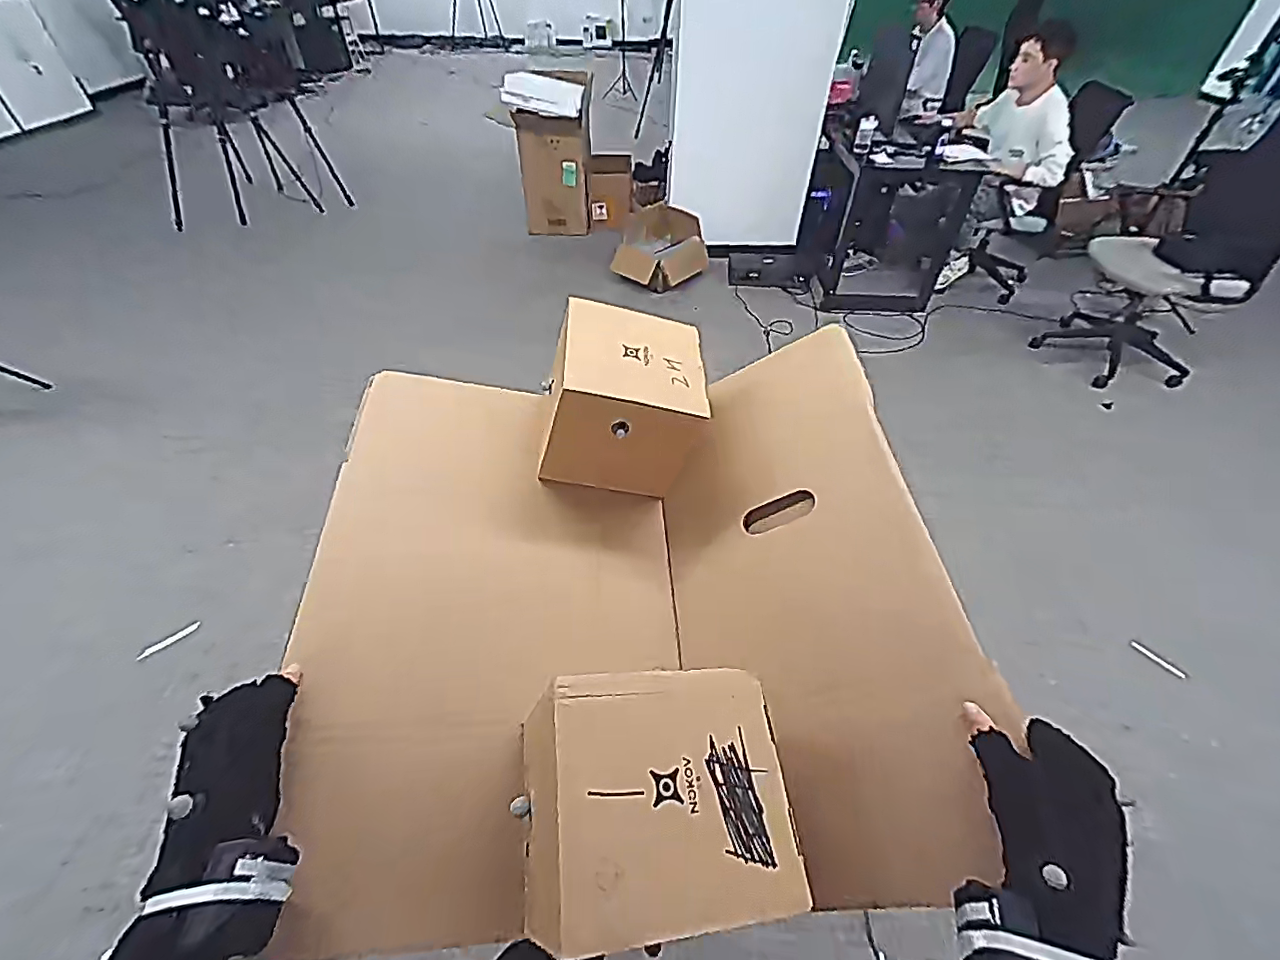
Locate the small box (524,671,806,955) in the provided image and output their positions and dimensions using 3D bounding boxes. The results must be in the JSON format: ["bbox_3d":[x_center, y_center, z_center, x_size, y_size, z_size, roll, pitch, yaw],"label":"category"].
[{"bbox_3d":[0.003,0.267,0.453,0.179,0.176,0.168,4,54,-17],"label":"small box"}]

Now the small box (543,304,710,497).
[{"bbox_3d":[-0.025,-0.096,0.712,0.179,0.176,0.168,11,52,-15],"label":"small box"}]
